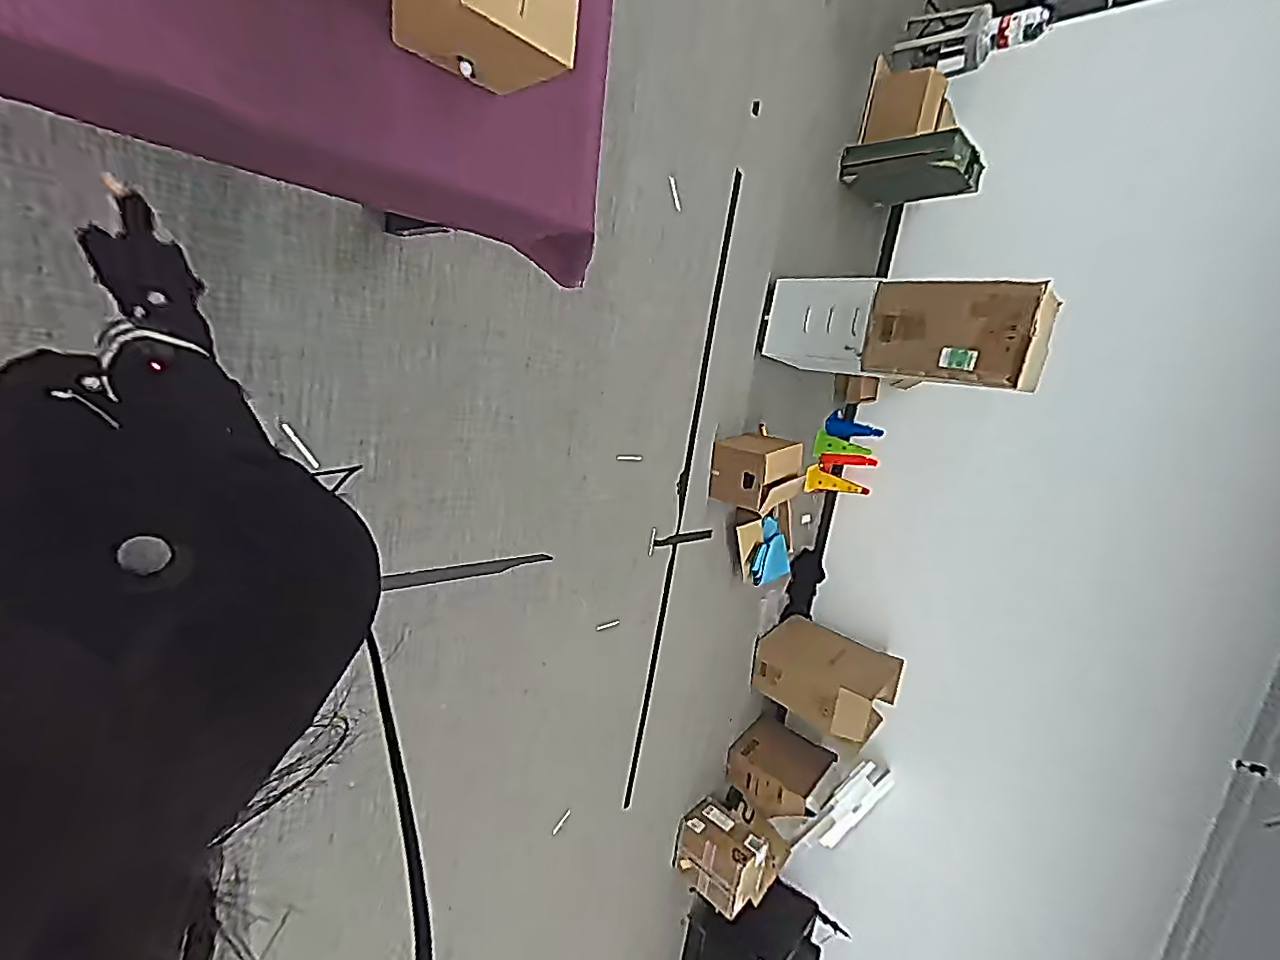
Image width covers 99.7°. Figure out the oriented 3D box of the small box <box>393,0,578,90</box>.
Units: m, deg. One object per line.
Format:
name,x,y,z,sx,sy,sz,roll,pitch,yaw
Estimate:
small box,-0.193,-0.636,0.680,0.168,0.176,0.179,-8,110,-48
